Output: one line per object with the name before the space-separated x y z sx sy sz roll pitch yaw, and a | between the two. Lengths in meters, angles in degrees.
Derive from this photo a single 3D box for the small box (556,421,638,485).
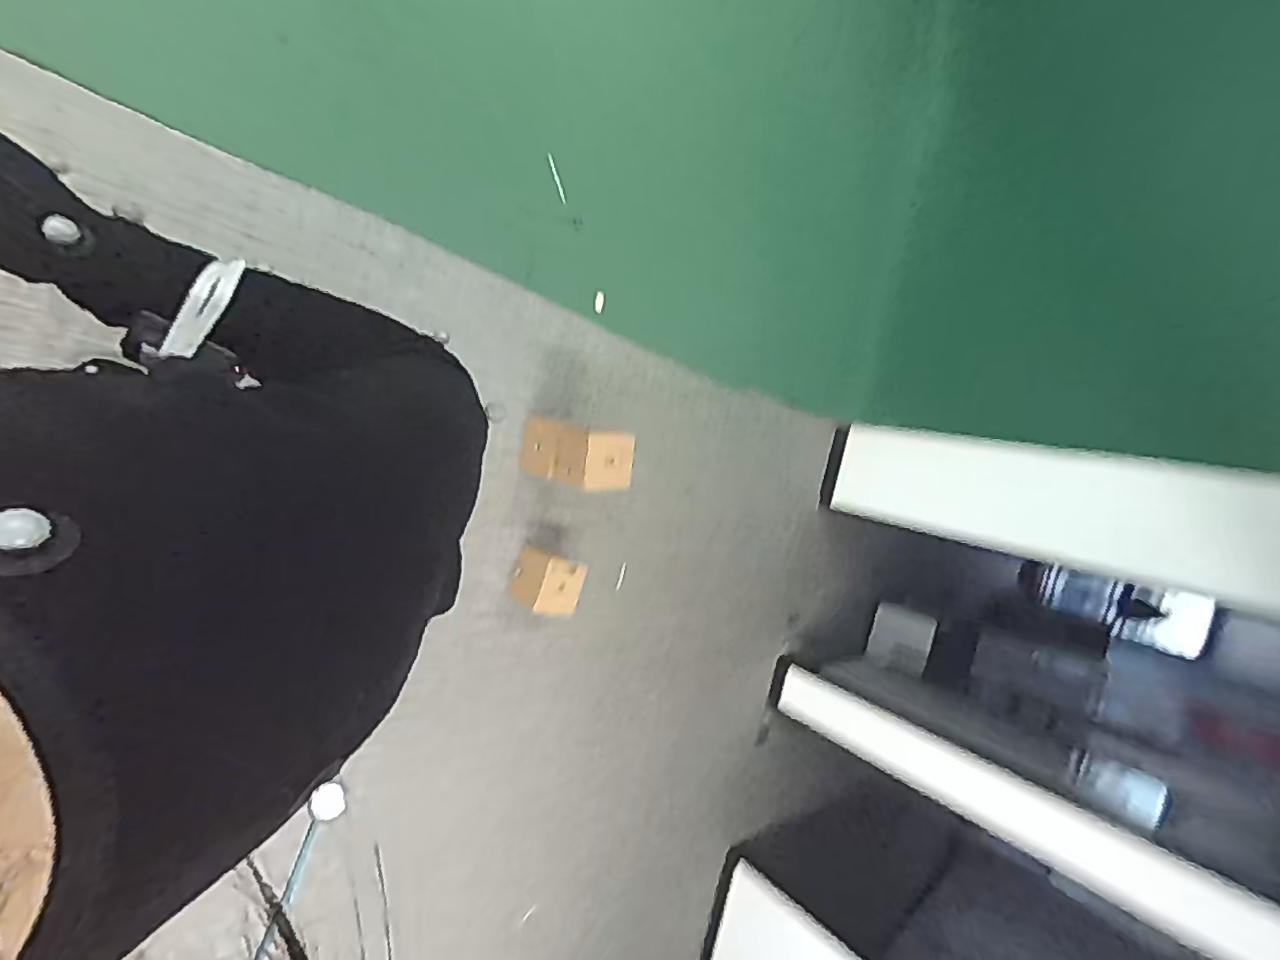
small box | -0.132 -0.083 1.605 0.179 0.176 0.168 -3 104 -44

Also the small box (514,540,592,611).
small box | -0.293 0.316 1.793 0.168 0.176 0.179 21 87 -45
